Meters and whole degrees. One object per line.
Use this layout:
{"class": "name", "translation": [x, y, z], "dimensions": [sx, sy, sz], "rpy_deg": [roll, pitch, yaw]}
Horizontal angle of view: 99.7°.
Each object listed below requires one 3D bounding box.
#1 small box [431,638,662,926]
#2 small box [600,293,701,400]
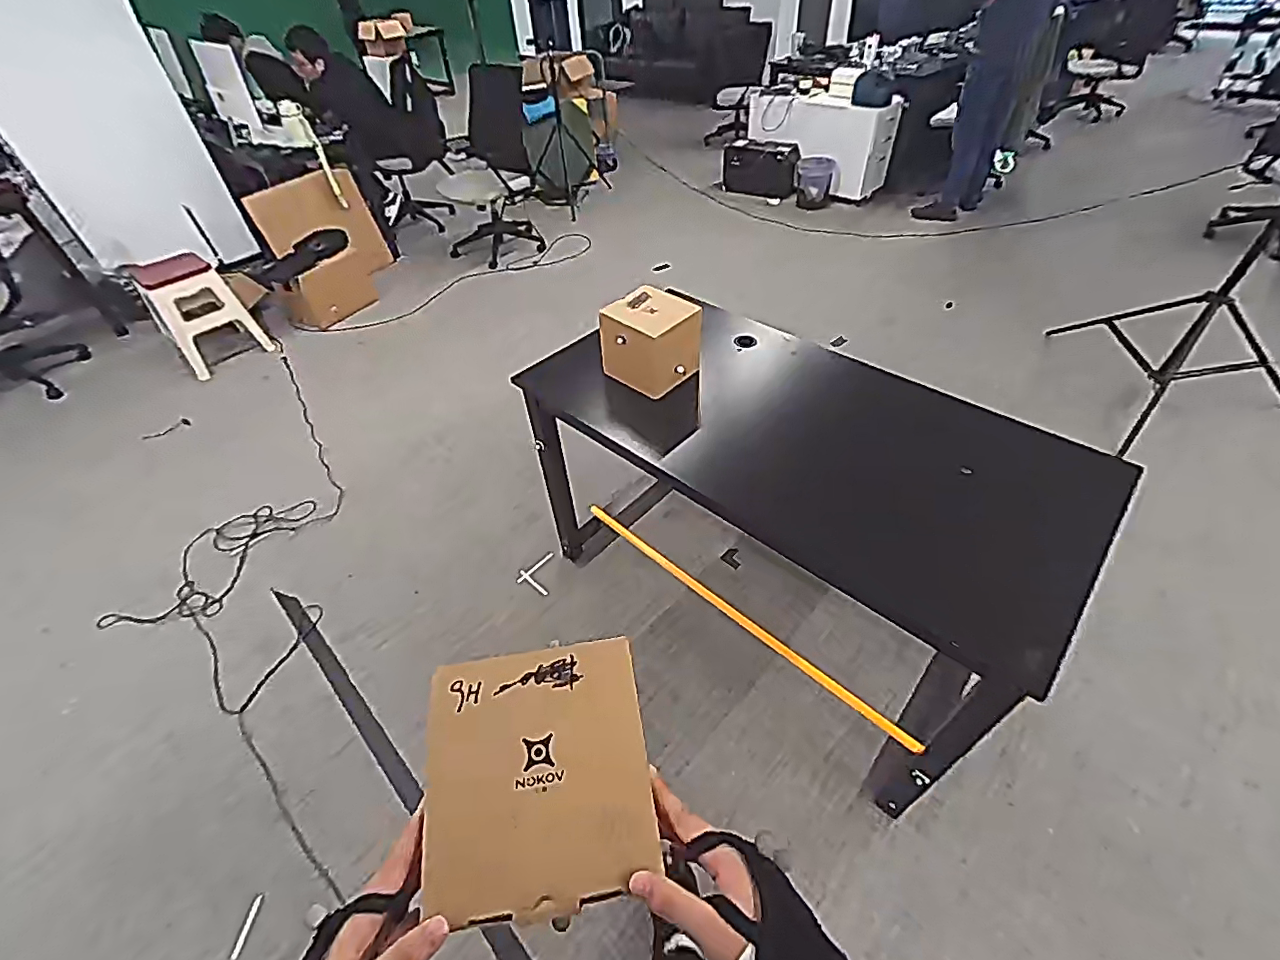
{"class": "small box", "translation": [-0.075, 0.263, 0.484], "dimensions": [0.168, 0.176, 0.179], "rpy_deg": [-8, 56, -6]}
{"class": "small box", "translation": [0.025, -0.317, 1.289], "dimensions": [0.179, 0.176, 0.168], "rpy_deg": [32, 55, 29]}
